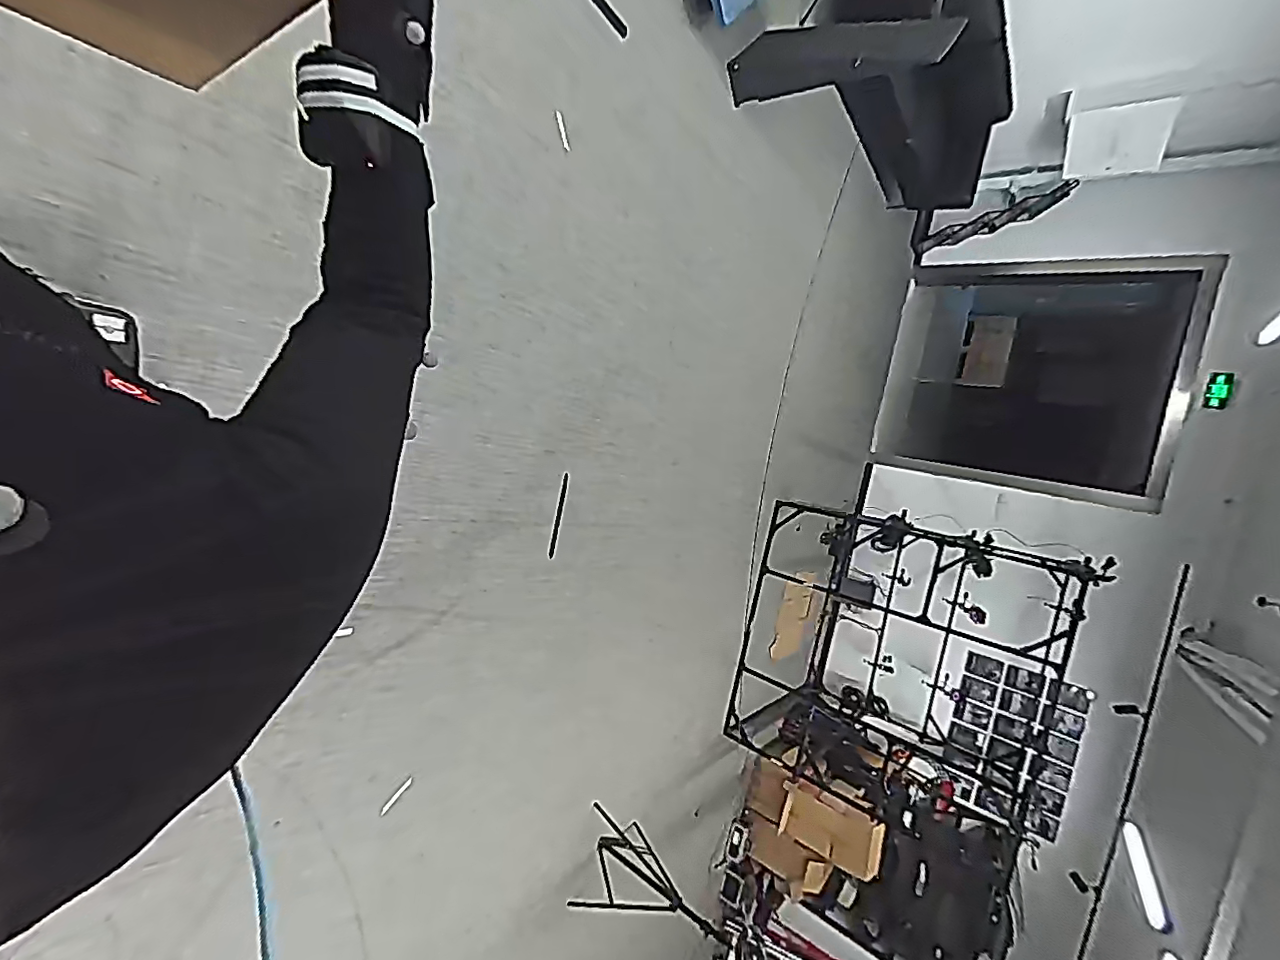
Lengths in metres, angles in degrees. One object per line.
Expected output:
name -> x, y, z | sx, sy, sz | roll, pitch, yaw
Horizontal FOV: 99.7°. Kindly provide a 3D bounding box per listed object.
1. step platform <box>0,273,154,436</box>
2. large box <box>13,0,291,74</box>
step platform -> -1.295, -0.256, 0.928 | 0.684, 0.204, 0.286 | 5, 98, -55
large box -> -0.421, -0.504, 0.265 | 0.408, 0.320, 0.320 | -2, 105, -54
